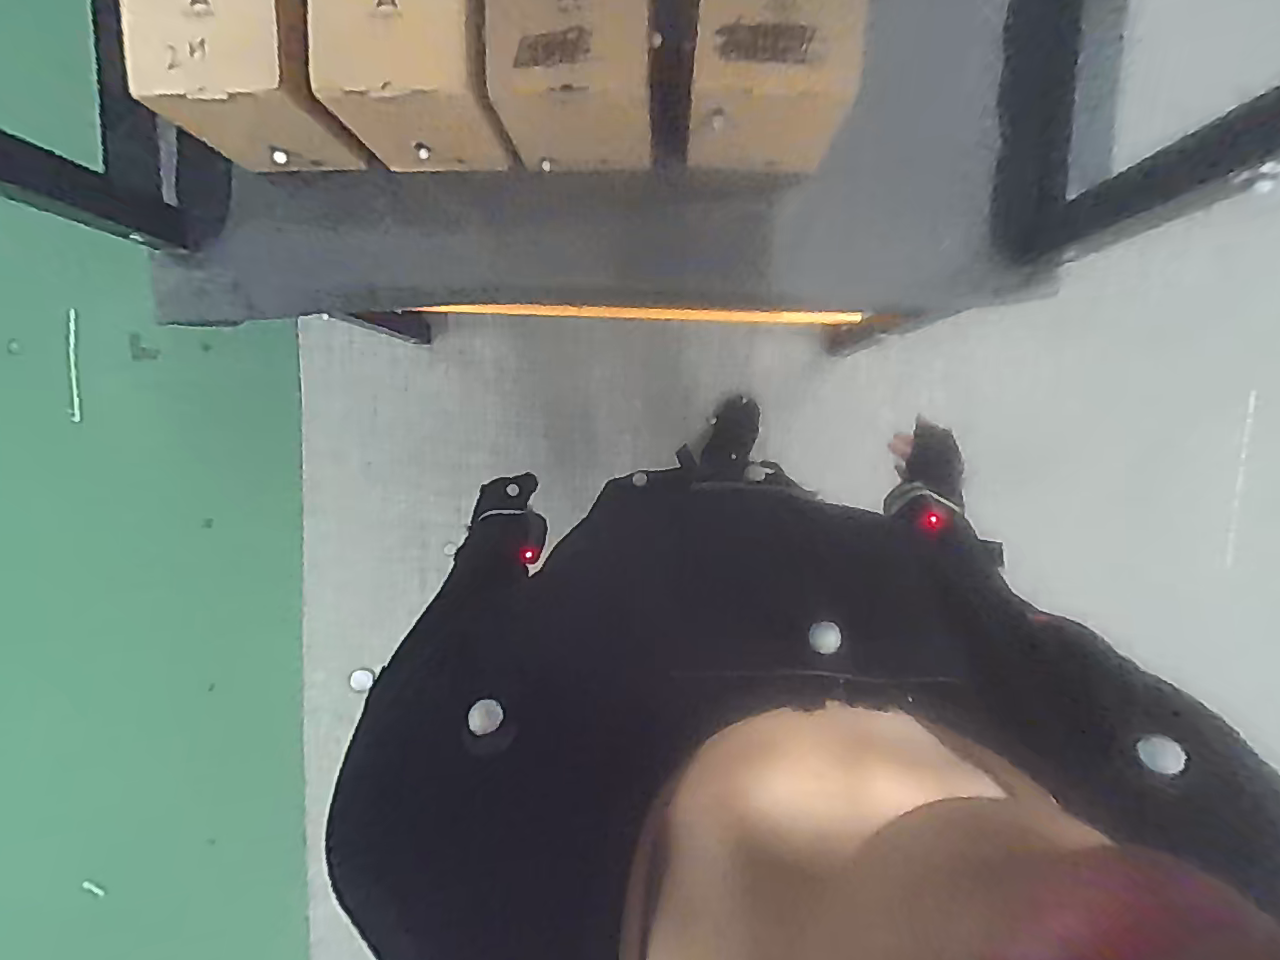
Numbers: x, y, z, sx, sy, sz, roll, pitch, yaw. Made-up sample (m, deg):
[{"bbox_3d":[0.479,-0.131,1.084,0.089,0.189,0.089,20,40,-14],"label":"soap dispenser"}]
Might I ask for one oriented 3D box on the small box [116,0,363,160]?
[{"bbox_3d":[-0.445,-0.502,0.625,0.168,0.176,0.179,0,96,3],"label":"small box"}]
